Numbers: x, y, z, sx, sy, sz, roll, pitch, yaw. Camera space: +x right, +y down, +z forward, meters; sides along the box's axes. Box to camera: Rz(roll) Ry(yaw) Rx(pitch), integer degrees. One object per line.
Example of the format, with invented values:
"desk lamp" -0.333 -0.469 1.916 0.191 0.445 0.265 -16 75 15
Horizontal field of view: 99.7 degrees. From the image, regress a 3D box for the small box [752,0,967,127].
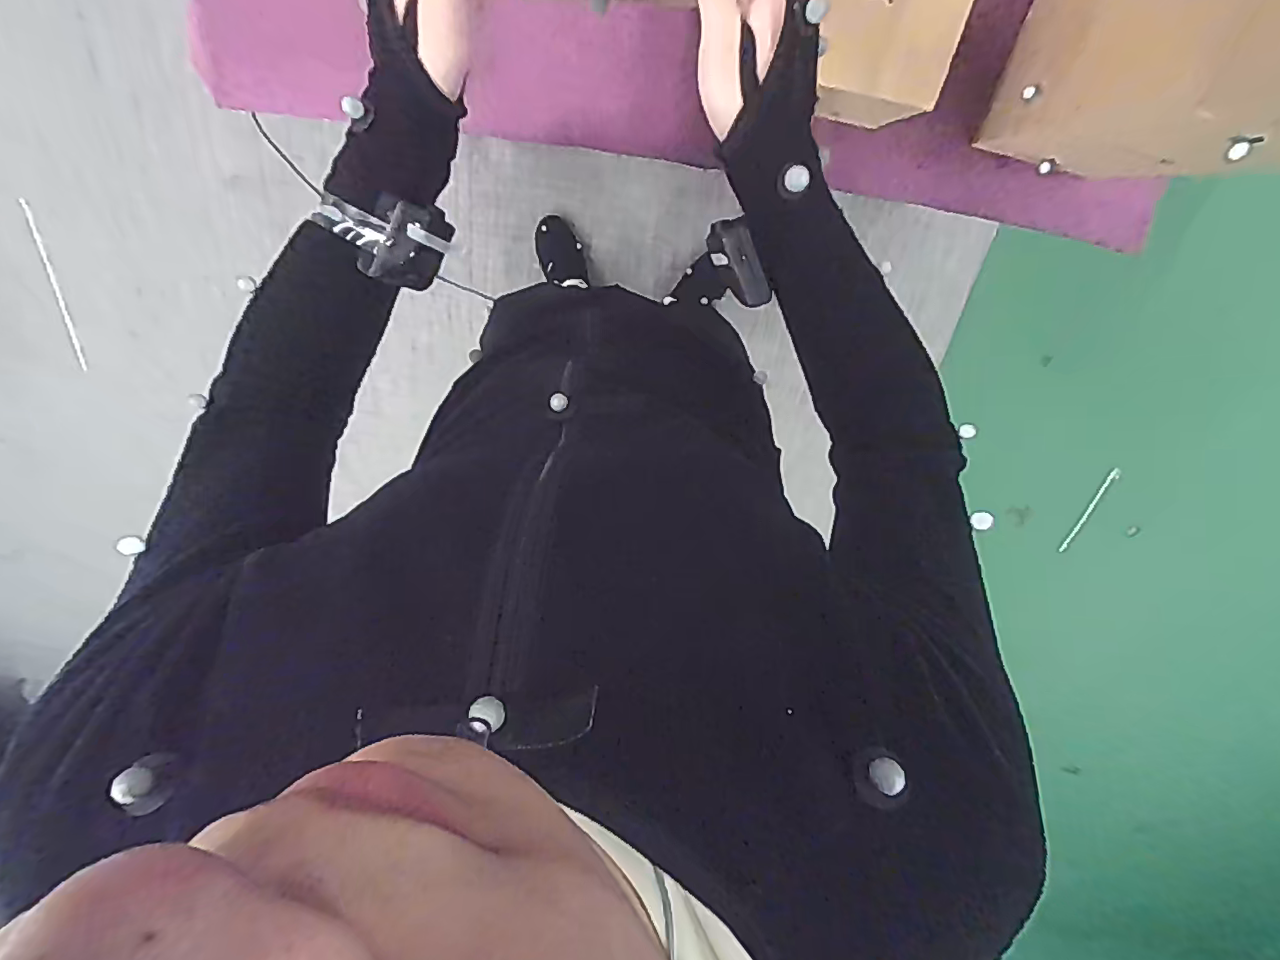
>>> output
"small box" 0.221 -0.486 0.557 0.168 0.176 0.179 11 116 -3
